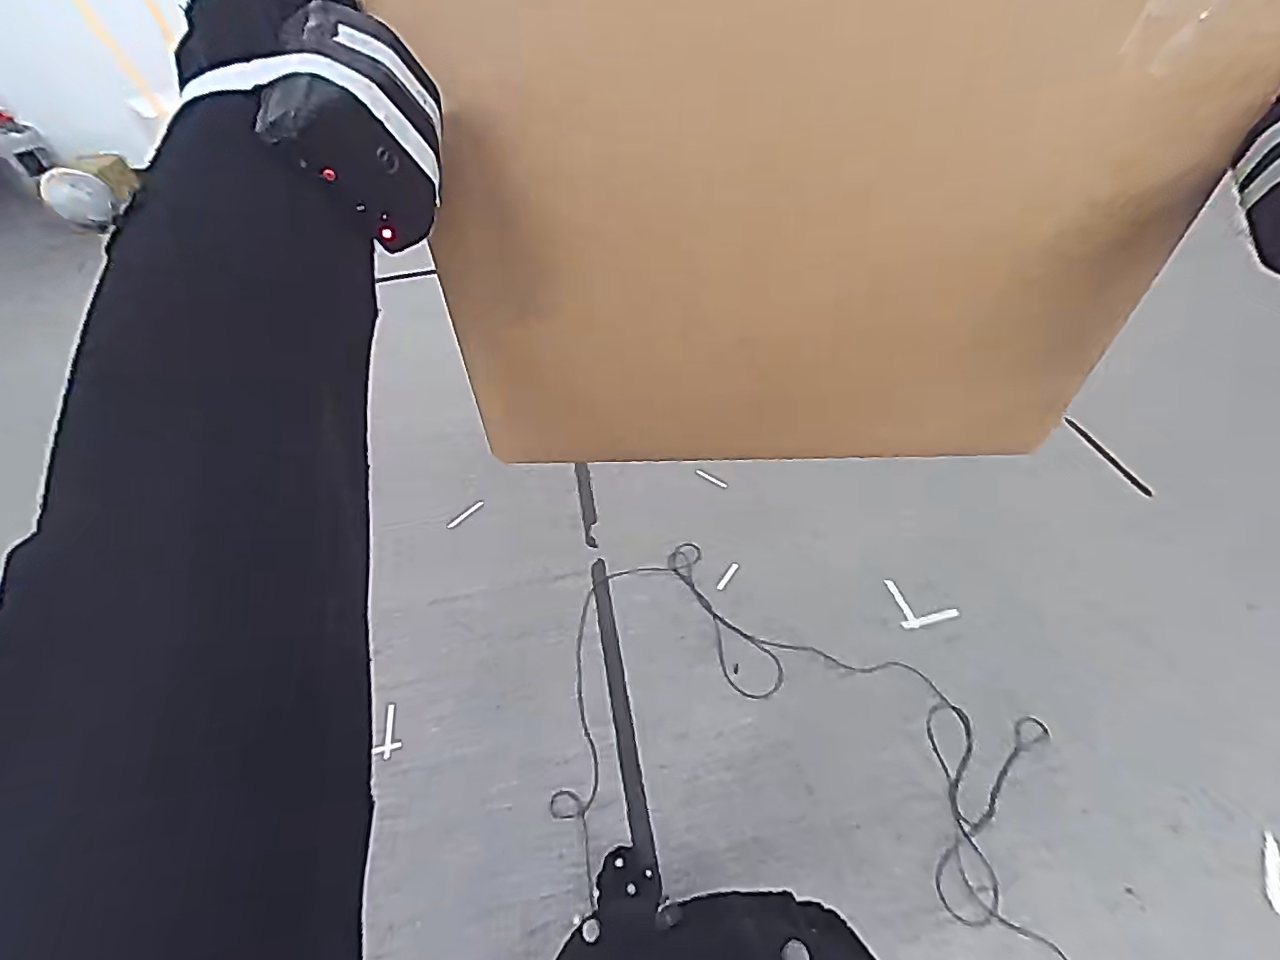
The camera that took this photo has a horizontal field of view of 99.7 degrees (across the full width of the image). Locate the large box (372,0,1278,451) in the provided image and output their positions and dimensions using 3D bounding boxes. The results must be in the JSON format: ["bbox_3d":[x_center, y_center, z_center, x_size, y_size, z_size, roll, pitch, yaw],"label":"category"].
[{"bbox_3d":[0.079,-0.236,0.405,0.408,0.320,0.320,-1,46,0],"label":"large box"}]
